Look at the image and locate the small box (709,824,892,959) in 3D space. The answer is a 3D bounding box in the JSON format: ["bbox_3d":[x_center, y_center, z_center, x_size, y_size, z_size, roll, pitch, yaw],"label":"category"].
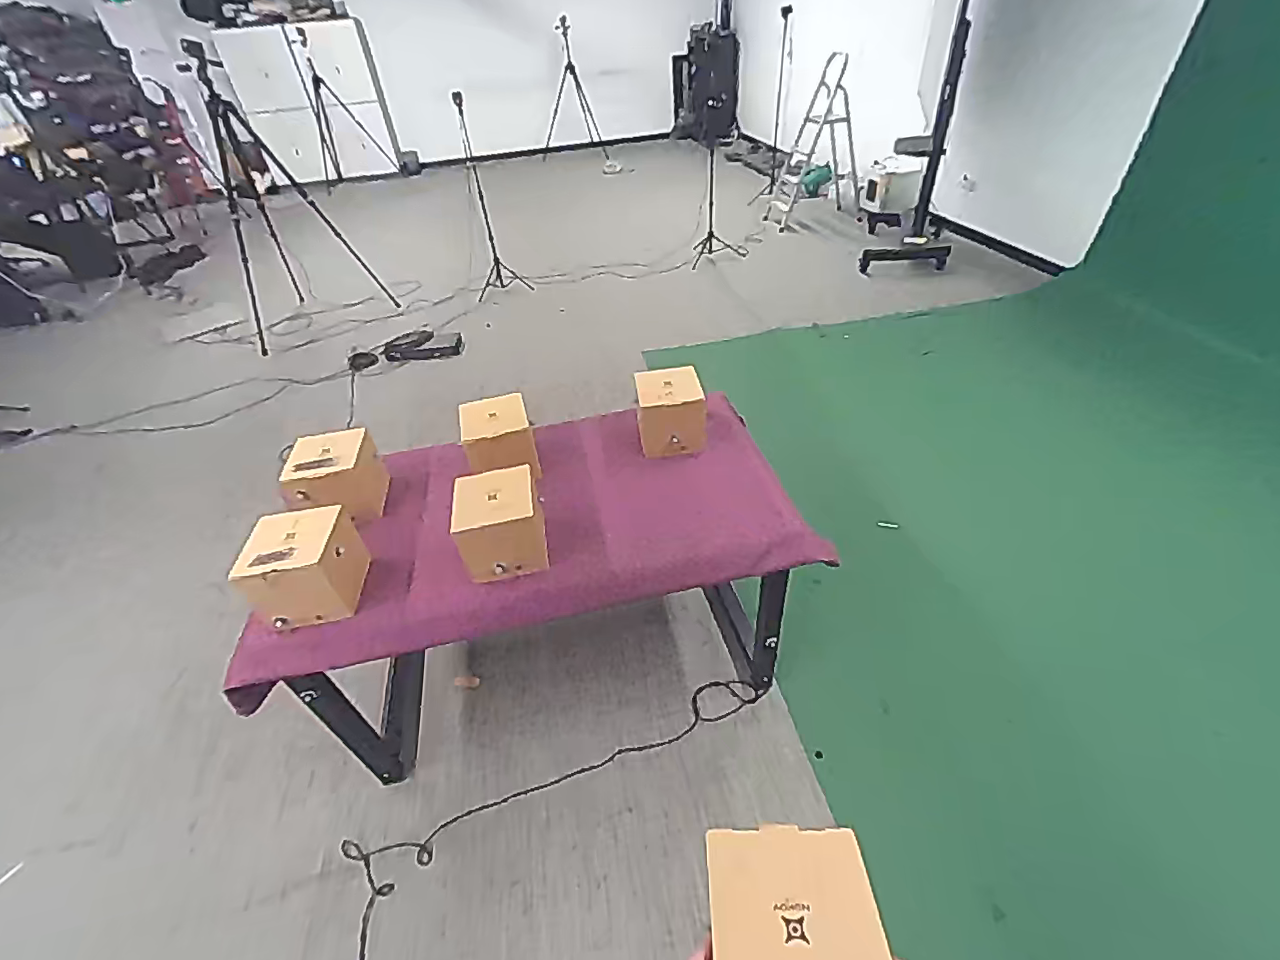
[{"bbox_3d":[0.160,0.500,0.570,0.168,0.176,0.179,-4,28,5],"label":"small box"}]

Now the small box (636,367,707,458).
[{"bbox_3d":[0.083,-0.181,1.454,0.168,0.176,0.179,-8,41,-1],"label":"small box"}]

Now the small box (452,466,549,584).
[{"bbox_3d":[-0.297,0.097,1.173,0.168,0.176,0.179,-11,40,-6],"label":"small box"}]

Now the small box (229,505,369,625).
[{"bbox_3d":[-0.684,0.179,1.113,0.168,0.176,0.179,-9,39,-5],"label":"small box"}]

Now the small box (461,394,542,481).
[{"bbox_3d":[-0.360,-0.099,1.408,0.168,0.176,0.179,-13,43,-10],"label":"small box"}]
